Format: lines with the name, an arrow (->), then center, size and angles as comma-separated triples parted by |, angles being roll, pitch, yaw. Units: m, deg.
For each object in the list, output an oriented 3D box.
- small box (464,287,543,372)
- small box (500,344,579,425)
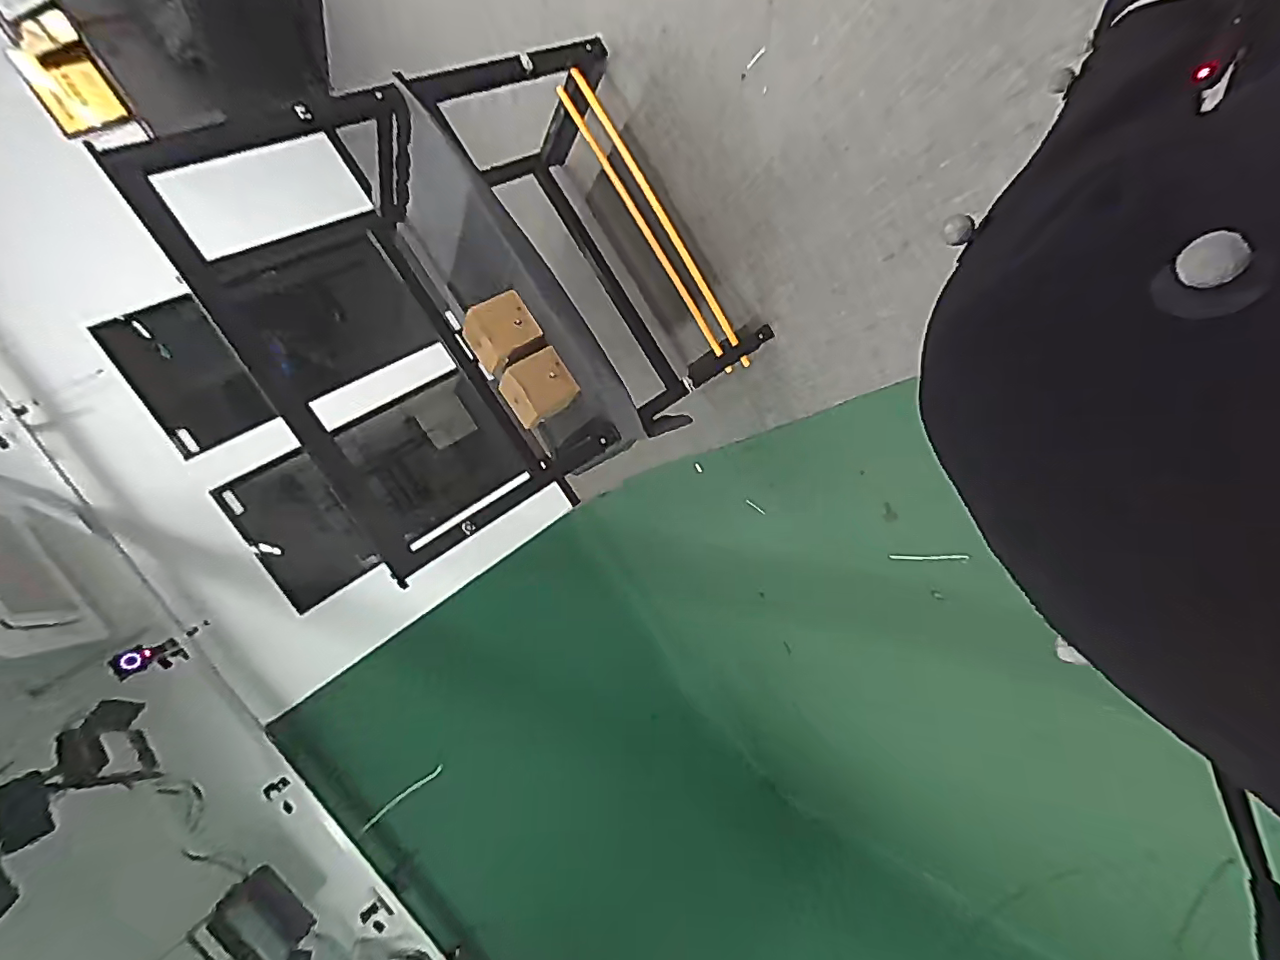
small box -> -0.428, -0.471, 1.701 | 0.168, 0.176, 0.179 | 55, 155, -5
small box -> -0.316, -0.301, 1.713 | 0.168, 0.176, 0.179 | 56, 155, -4
